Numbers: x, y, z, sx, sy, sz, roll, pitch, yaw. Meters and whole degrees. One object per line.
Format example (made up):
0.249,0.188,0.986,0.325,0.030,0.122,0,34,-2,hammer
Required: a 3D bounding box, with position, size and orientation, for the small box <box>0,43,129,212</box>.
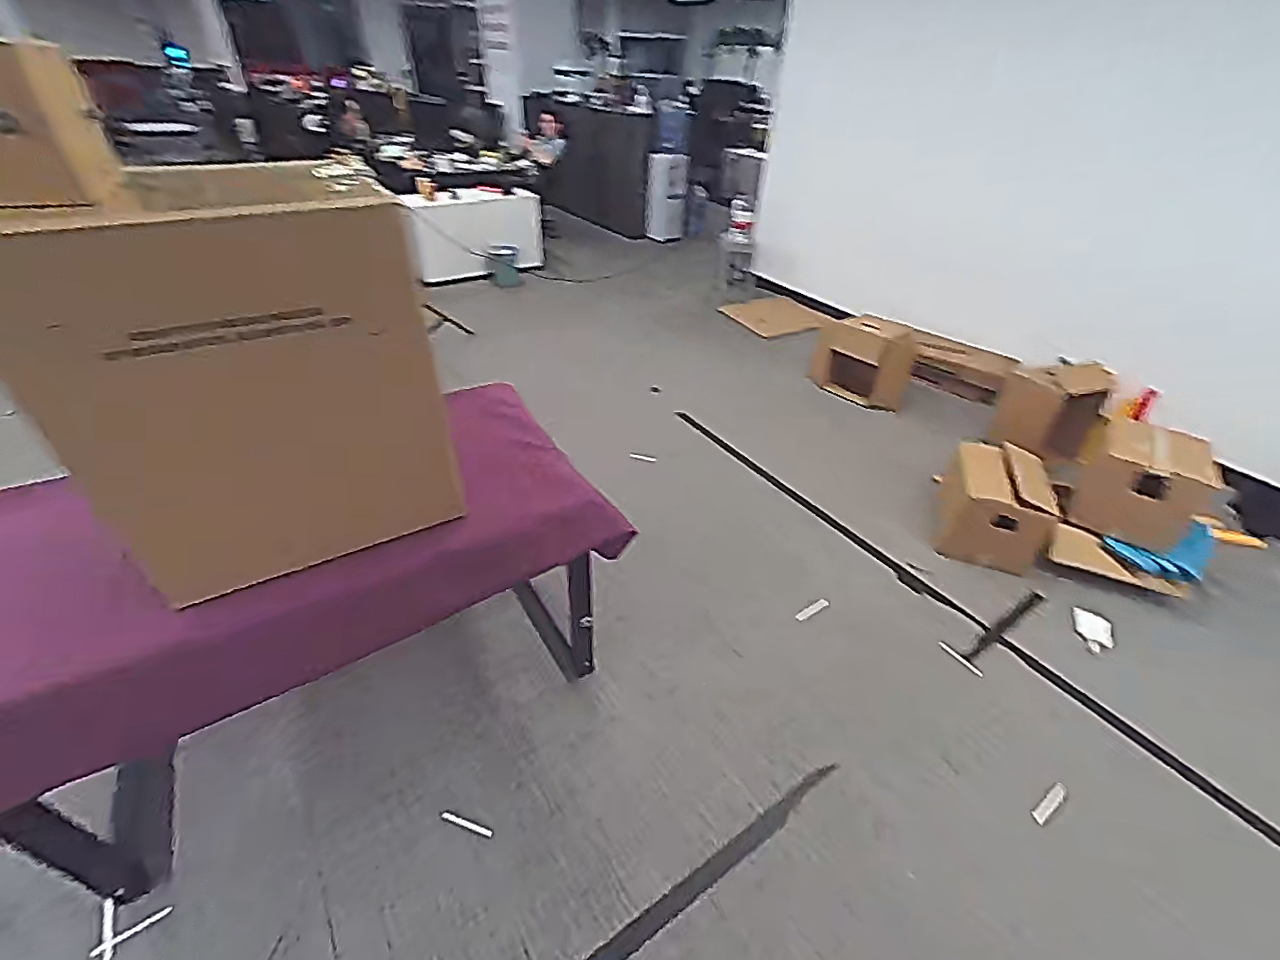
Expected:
-0.808,-0.446,0.686,0.179,0.176,0.168,-14,40,-21,small box
